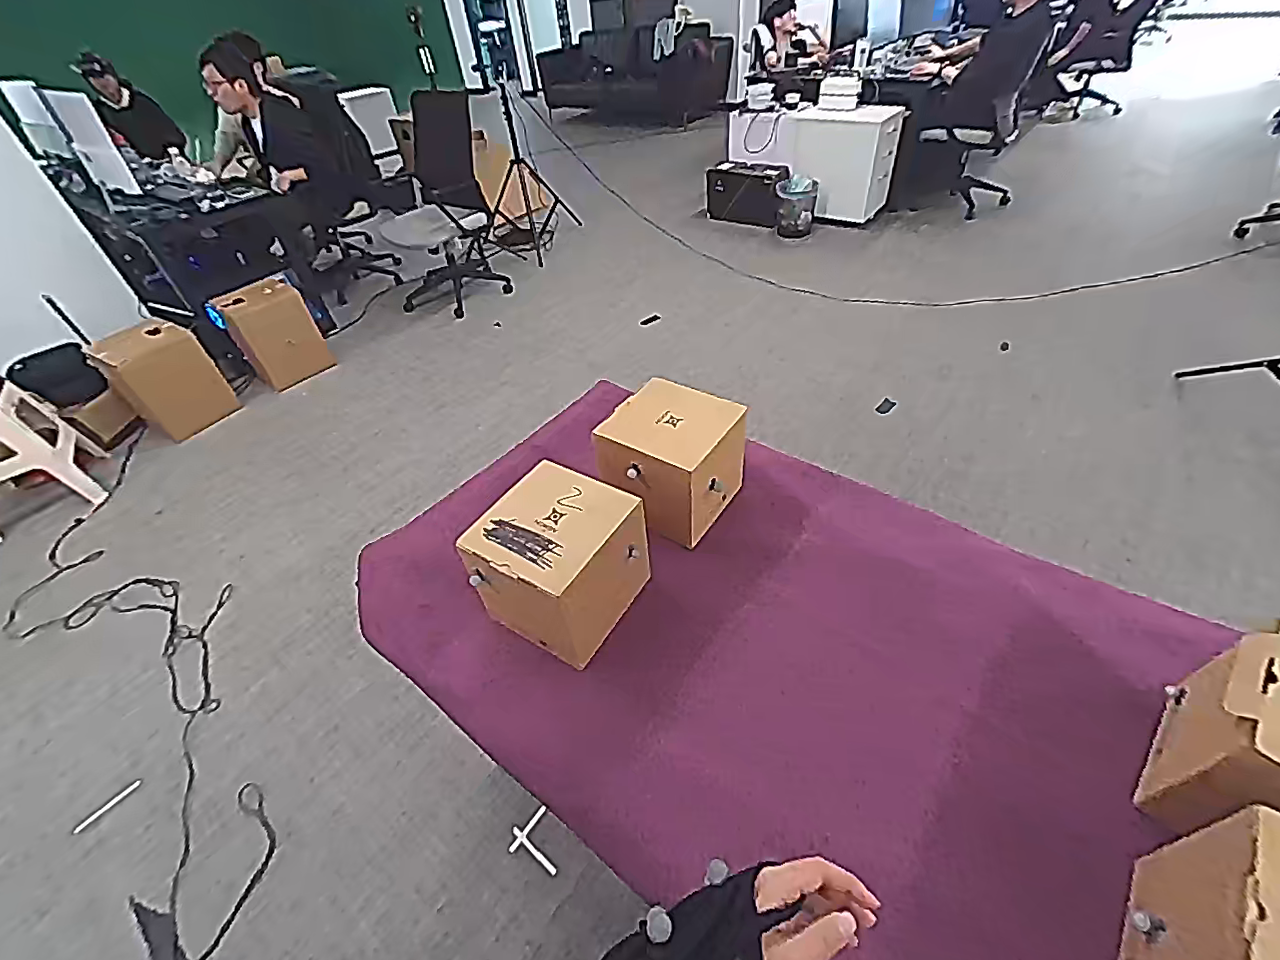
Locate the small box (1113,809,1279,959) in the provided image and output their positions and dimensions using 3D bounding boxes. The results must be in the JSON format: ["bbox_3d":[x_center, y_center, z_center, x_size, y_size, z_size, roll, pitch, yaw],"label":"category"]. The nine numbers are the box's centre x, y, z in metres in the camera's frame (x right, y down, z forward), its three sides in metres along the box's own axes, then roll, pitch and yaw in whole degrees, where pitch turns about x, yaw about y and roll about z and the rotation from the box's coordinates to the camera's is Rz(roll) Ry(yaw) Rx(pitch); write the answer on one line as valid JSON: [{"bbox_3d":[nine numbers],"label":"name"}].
[{"bbox_3d":[0.479,0.383,0.376,0.179,0.176,0.168,27,51,32],"label":"small box"}]

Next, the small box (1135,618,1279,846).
[{"bbox_3d":[0.603,0.267,0.482,0.179,0.176,0.168,33,58,33],"label":"small box"}]

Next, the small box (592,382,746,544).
[{"bbox_3d":[0.050,-0.024,0.857,0.179,0.176,0.168,23,51,27],"label":"small box"}]
